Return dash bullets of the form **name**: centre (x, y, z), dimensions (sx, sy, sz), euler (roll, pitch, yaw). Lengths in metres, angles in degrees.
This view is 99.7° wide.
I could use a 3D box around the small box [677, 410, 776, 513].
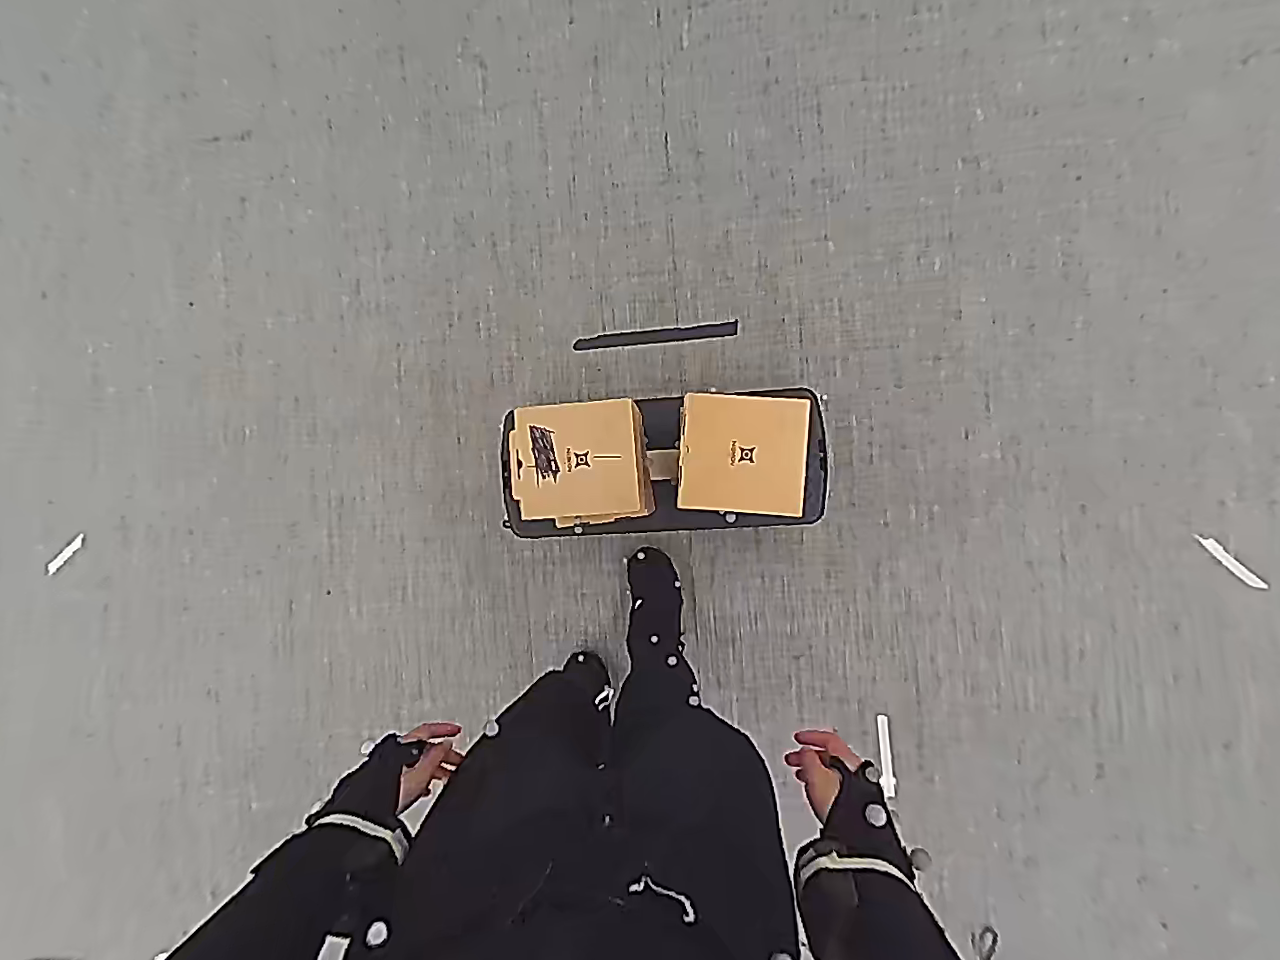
- **small box**: centre (0.155, -0.033, 1.000), dimensions (0.168, 0.176, 0.179), euler (1, 90, 5)
